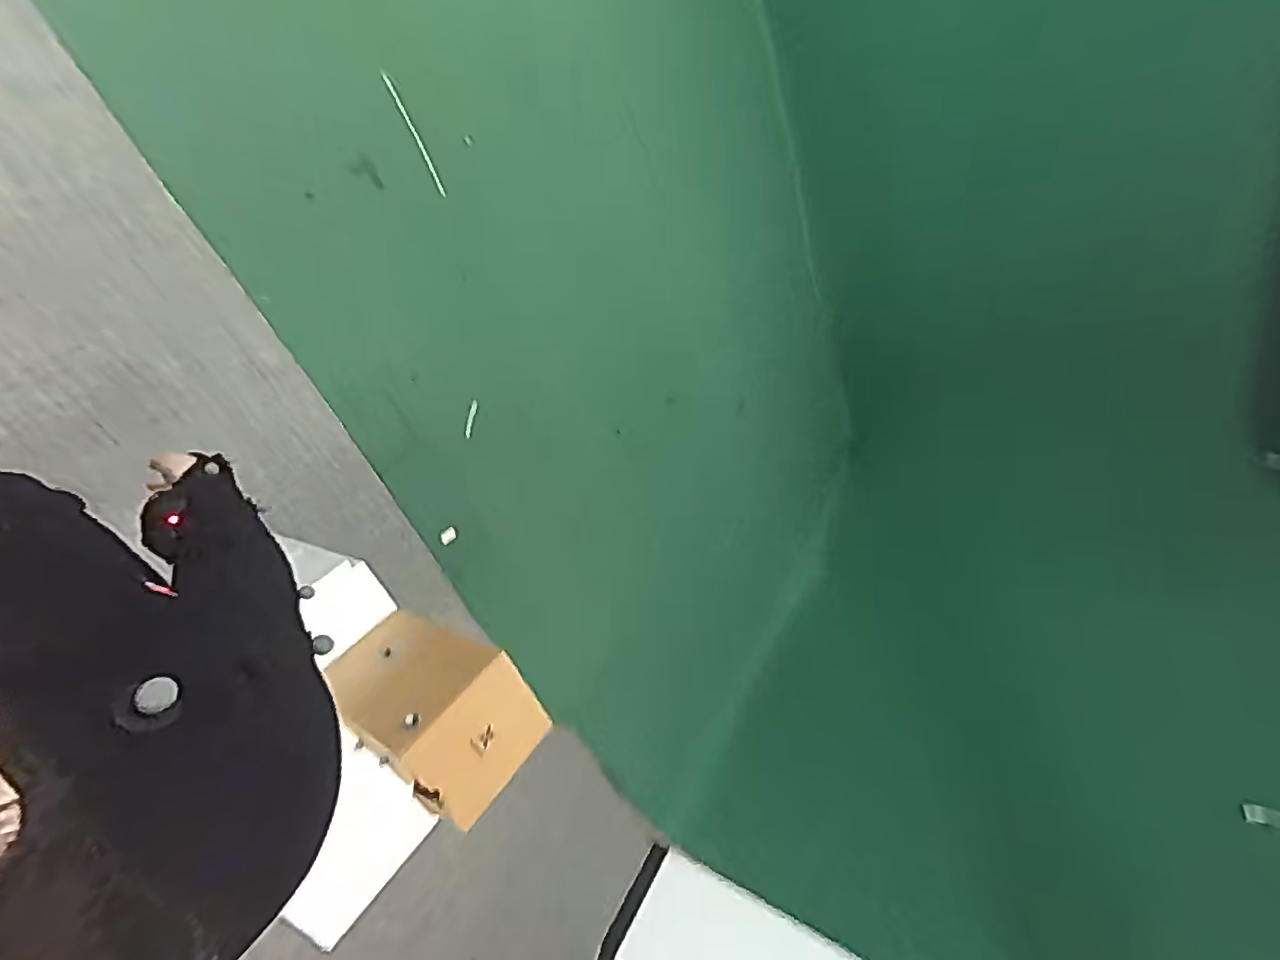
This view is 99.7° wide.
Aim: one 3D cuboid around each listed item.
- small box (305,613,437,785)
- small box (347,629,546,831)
[{"bbox_3d":[-0.397,0.343,0.882,0.179,0.176,0.168,-45,124,-38],"label":"small box"},{"bbox_3d":[-0.274,0.341,0.774,0.179,0.176,0.168,-44,124,-37],"label":"small box"}]
